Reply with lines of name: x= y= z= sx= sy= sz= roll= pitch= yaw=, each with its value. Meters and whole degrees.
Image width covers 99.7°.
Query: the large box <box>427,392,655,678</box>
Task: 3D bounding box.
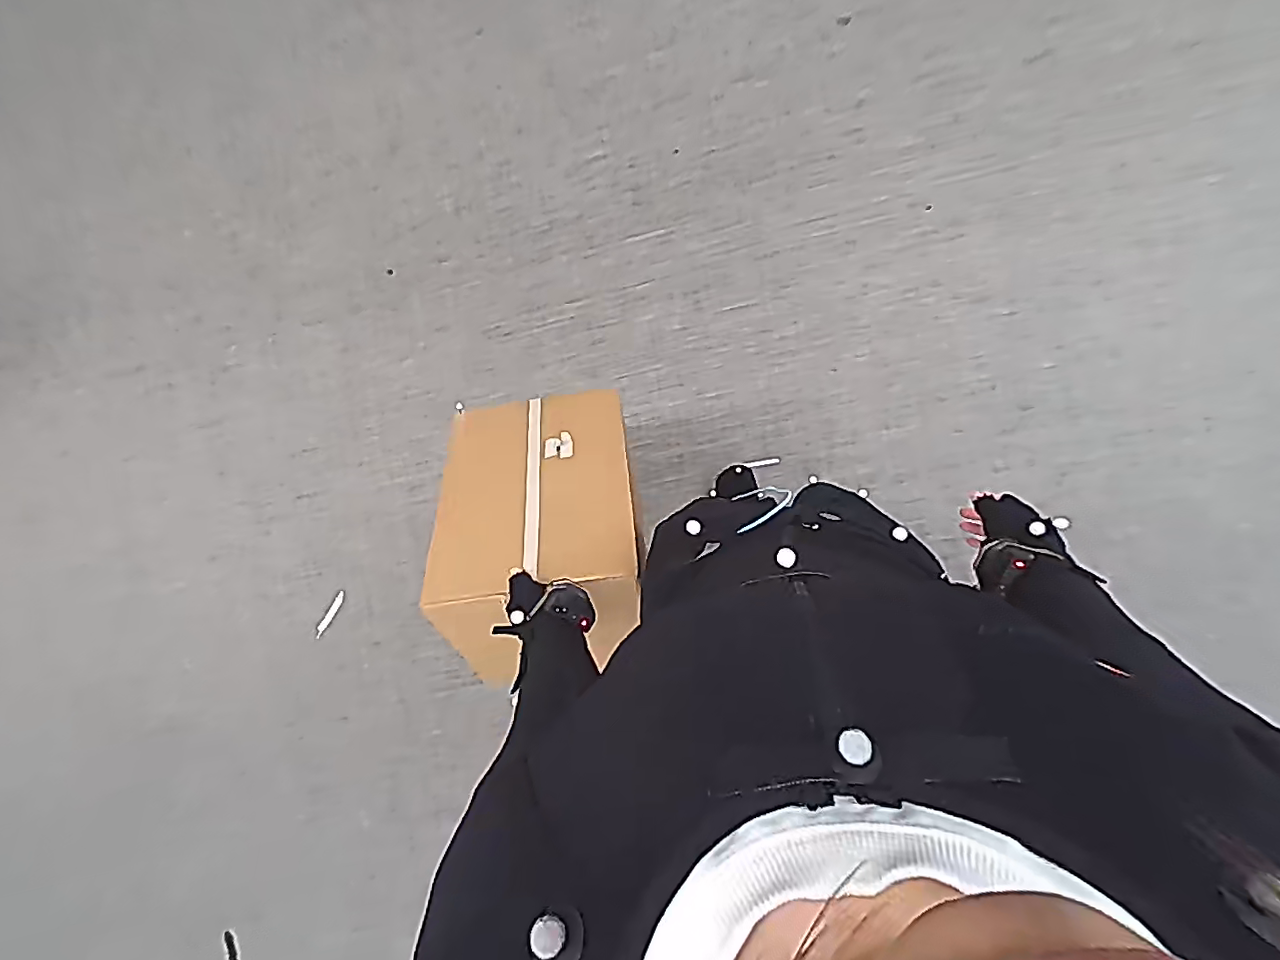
large box: x=-0.159 y=0.101 z=1.009 sx=0.320 sy=0.320 sz=0.408 roll=-8 pitch=49 yaw=1
